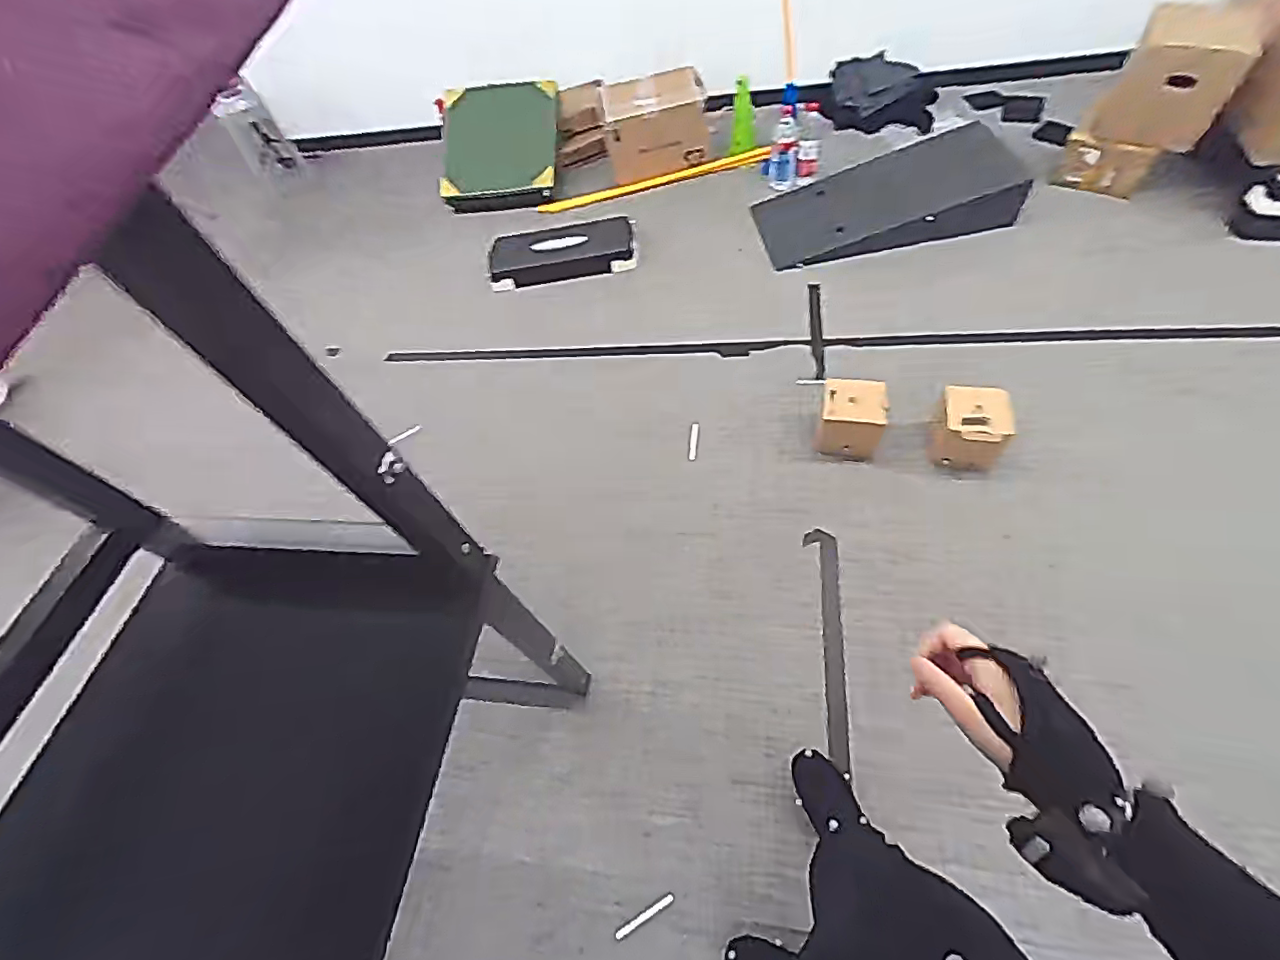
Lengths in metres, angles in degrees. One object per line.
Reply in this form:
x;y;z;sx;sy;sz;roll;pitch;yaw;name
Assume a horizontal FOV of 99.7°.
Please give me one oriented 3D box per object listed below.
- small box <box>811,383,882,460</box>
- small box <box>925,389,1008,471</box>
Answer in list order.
0.641;-0.179;1.684;0.179;0.176;0.168;7;58;13;small box
0.964;-0.145;1.610;0.168;0.176;0.179;7;57;13;small box
